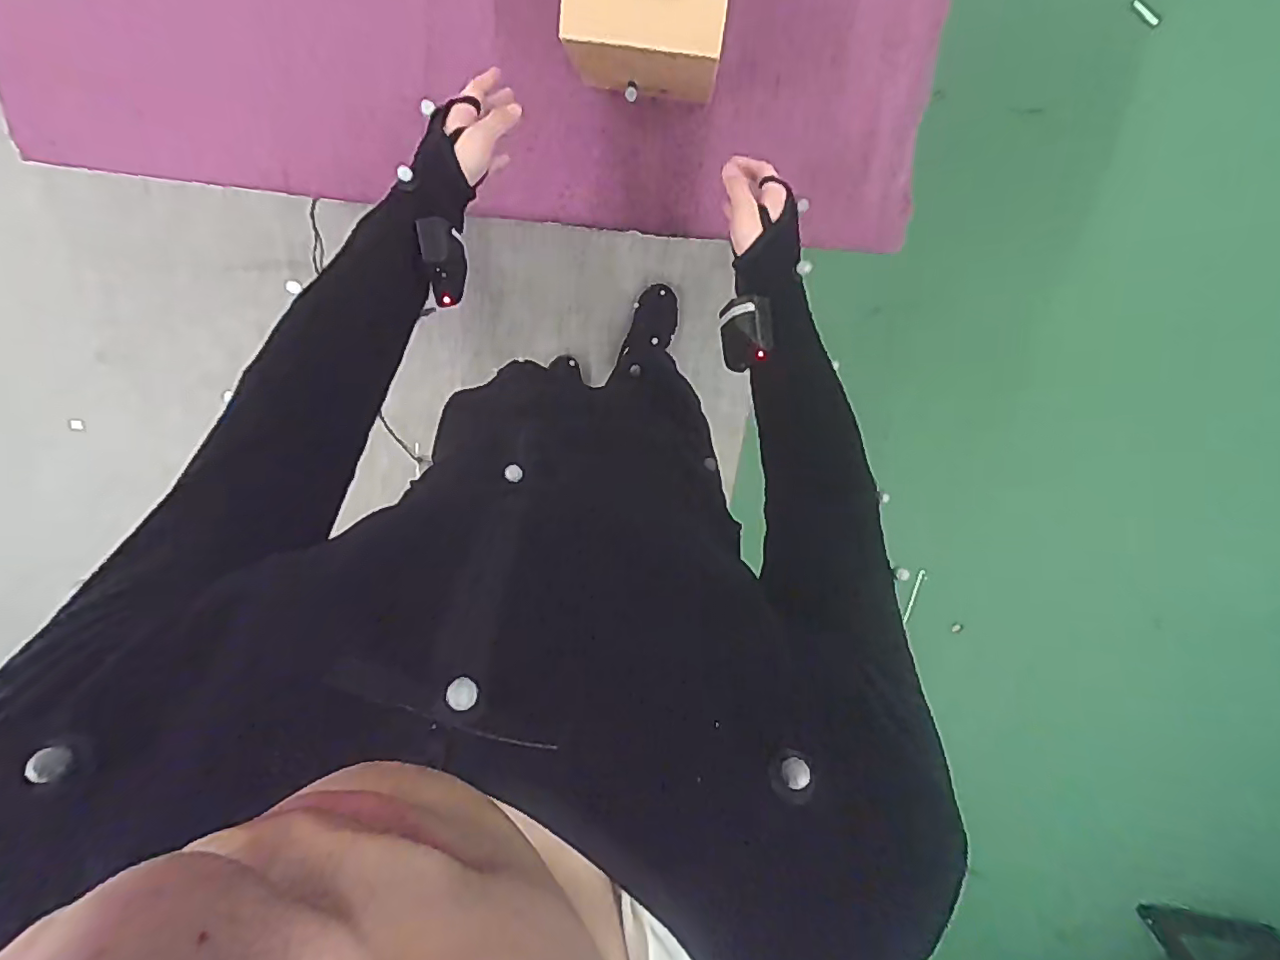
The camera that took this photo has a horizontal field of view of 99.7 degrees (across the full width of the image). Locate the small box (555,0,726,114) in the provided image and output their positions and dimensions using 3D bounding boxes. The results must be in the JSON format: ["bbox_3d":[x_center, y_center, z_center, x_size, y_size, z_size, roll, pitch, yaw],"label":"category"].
[{"bbox_3d":[0.011,-0.536,0.592,0.168,0.176,0.179,9,111,1],"label":"small box"}]
